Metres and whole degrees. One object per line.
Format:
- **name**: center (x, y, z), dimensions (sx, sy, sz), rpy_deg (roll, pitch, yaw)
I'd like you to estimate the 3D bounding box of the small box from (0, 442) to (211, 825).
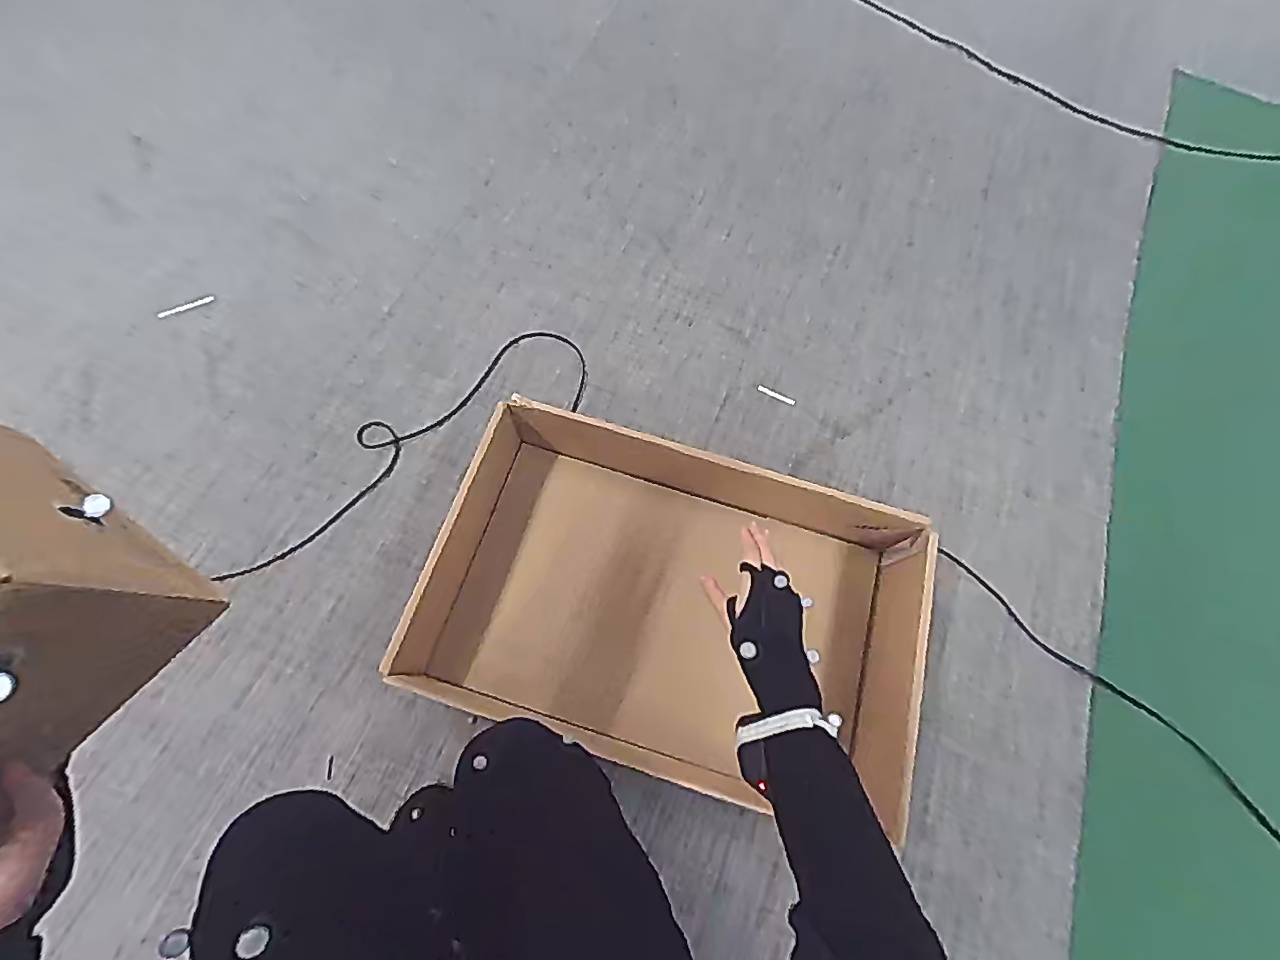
- **small box**: center (-0.351, 0.073, 0.233), dimensions (0.168, 0.176, 0.179), rpy_deg (39, 68, -1)
